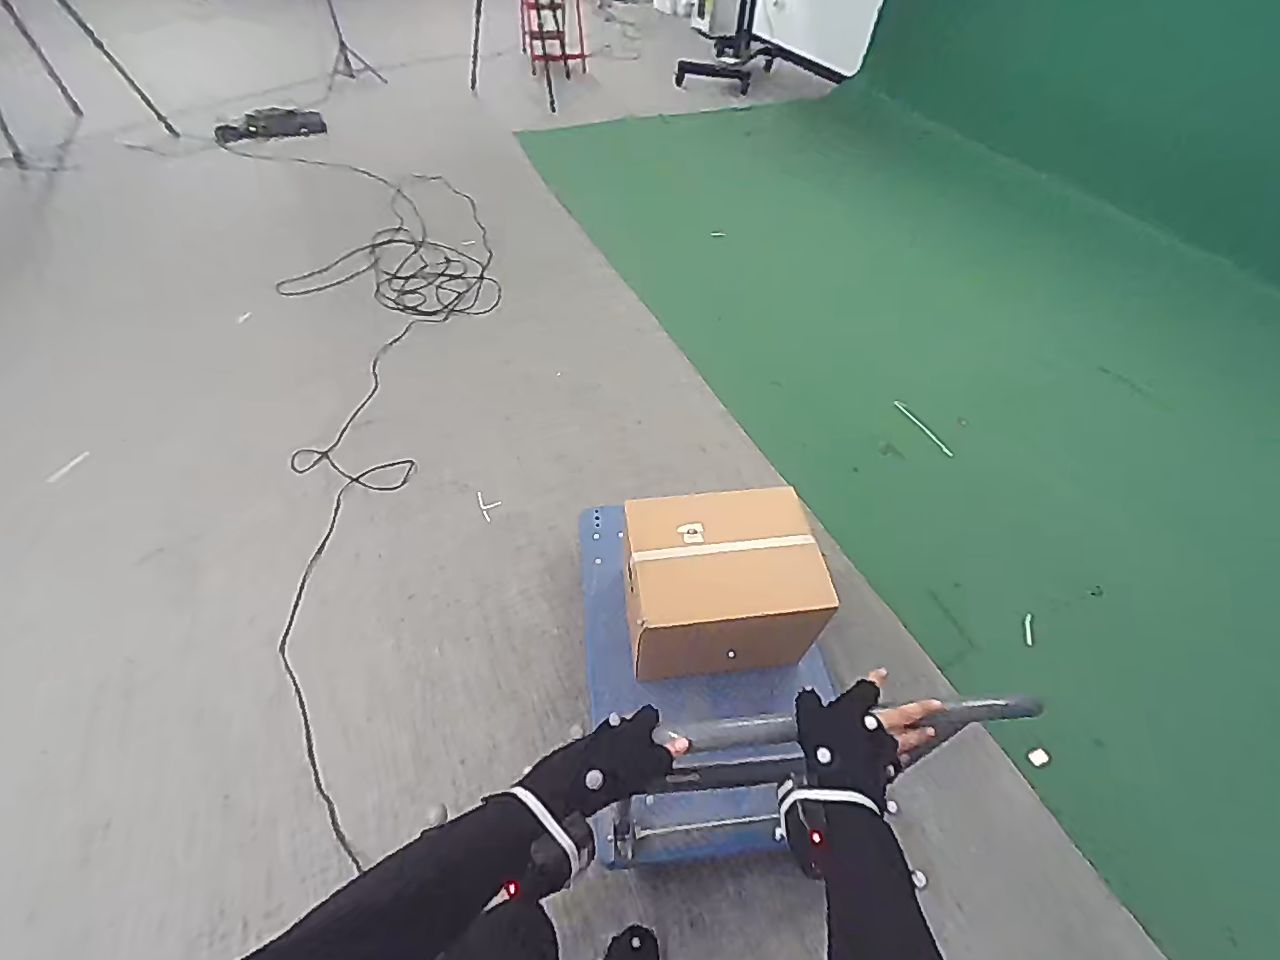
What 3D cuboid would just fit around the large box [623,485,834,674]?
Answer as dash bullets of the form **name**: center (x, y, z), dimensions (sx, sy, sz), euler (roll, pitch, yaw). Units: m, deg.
- **large box**: center (0.178, 0.241, 1.285), dimensions (0.408, 0.320, 0.320), euler (-5, 52, -6)
